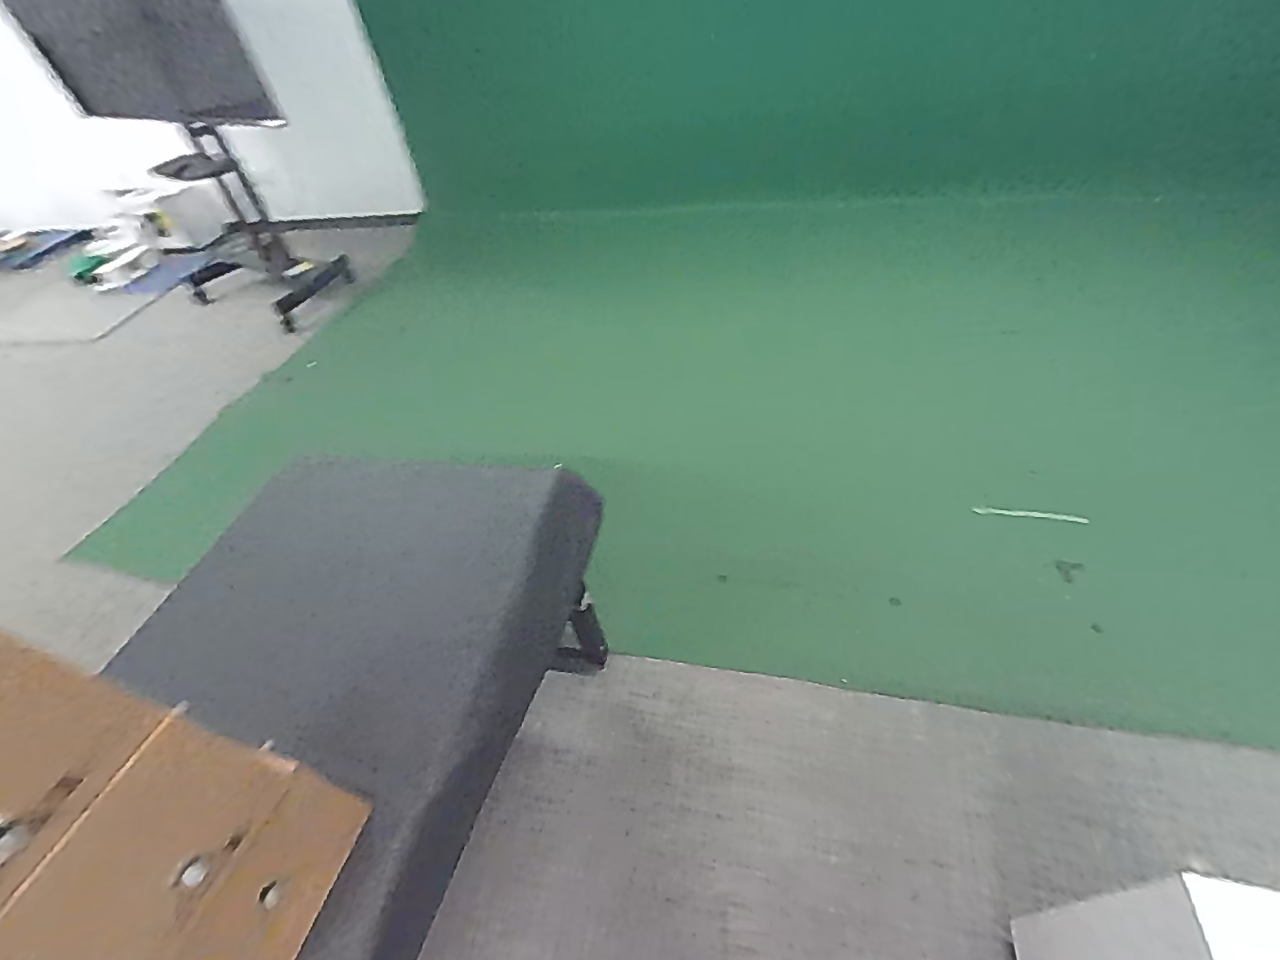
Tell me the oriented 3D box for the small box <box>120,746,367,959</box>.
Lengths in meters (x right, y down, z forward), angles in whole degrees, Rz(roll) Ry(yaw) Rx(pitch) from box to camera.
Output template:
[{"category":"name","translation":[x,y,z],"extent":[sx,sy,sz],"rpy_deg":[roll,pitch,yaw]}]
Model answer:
[{"category":"small box","translation":[-0.437,0.390,0.582],"extent":[0.168,0.176,0.179],"rpy_deg":[6,49,16]}]

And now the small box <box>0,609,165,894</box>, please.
[{"category":"small box","translation":[-0.486,0.167,0.348],"extent":[0.179,0.176,0.168],"rpy_deg":[9,51,17]}]
